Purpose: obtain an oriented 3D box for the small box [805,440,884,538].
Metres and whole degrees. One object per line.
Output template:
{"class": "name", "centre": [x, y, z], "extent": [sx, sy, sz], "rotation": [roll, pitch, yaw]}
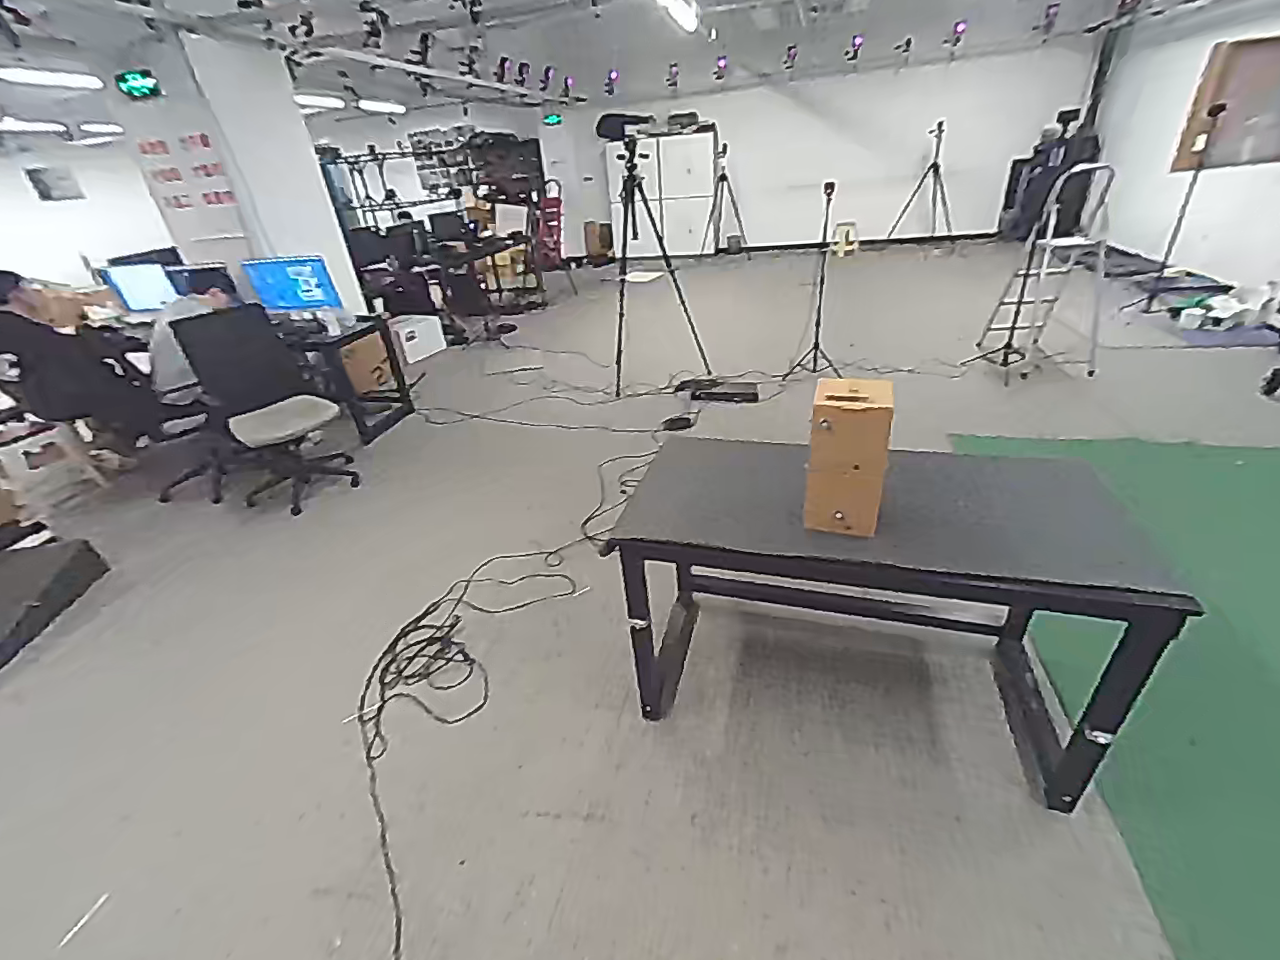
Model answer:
{"class": "small box", "centre": [0.507, 0.019, 1.345], "extent": [0.168, 0.176, 0.179], "rotation": [6, 32, 21]}
